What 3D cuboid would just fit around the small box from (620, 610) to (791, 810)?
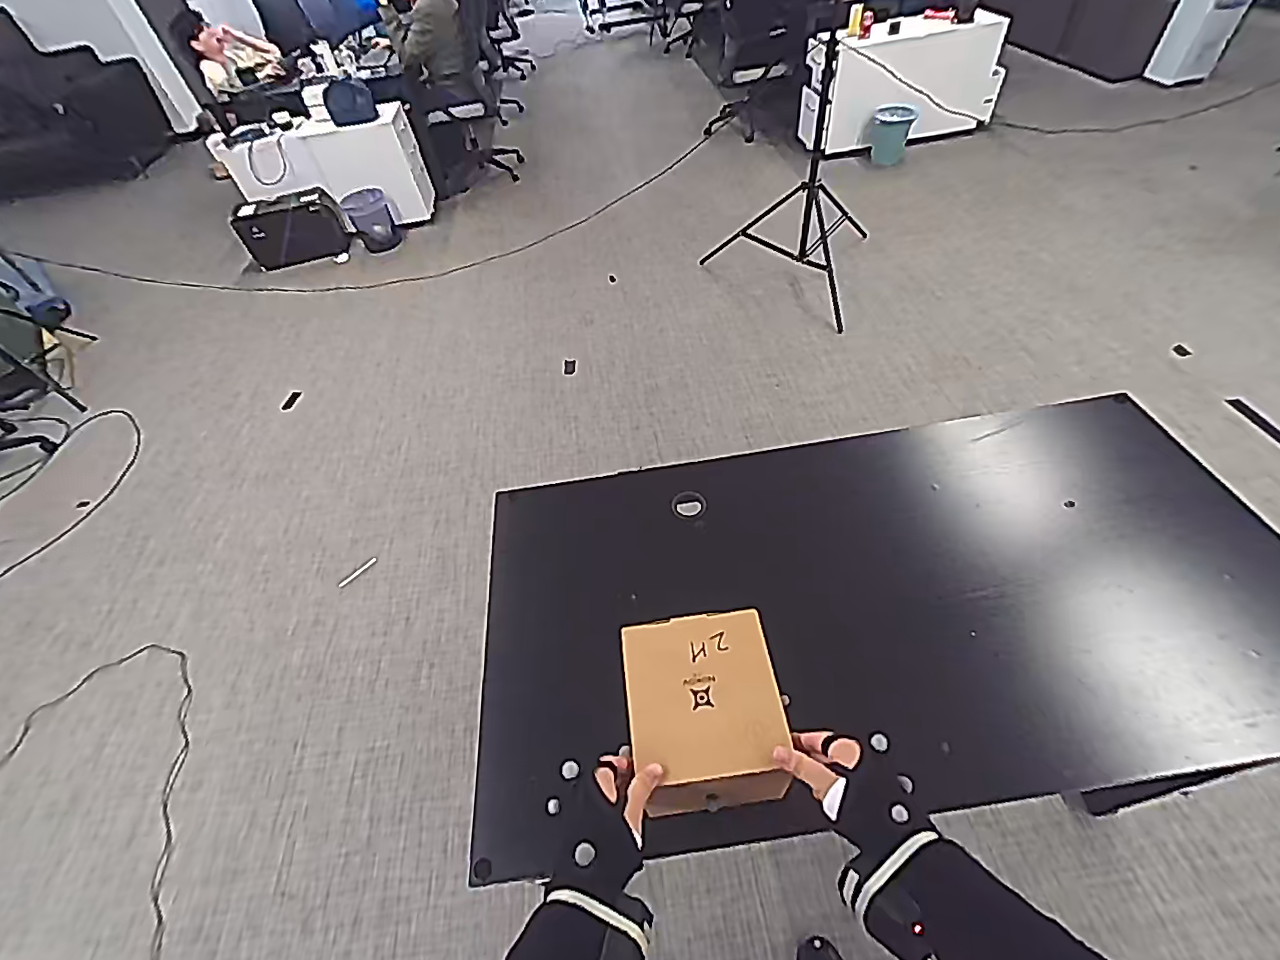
[{"bbox_3d":[0.073,0.283,0.654,0.168,0.176,0.179,-9,49,0],"label":"small box"}]
